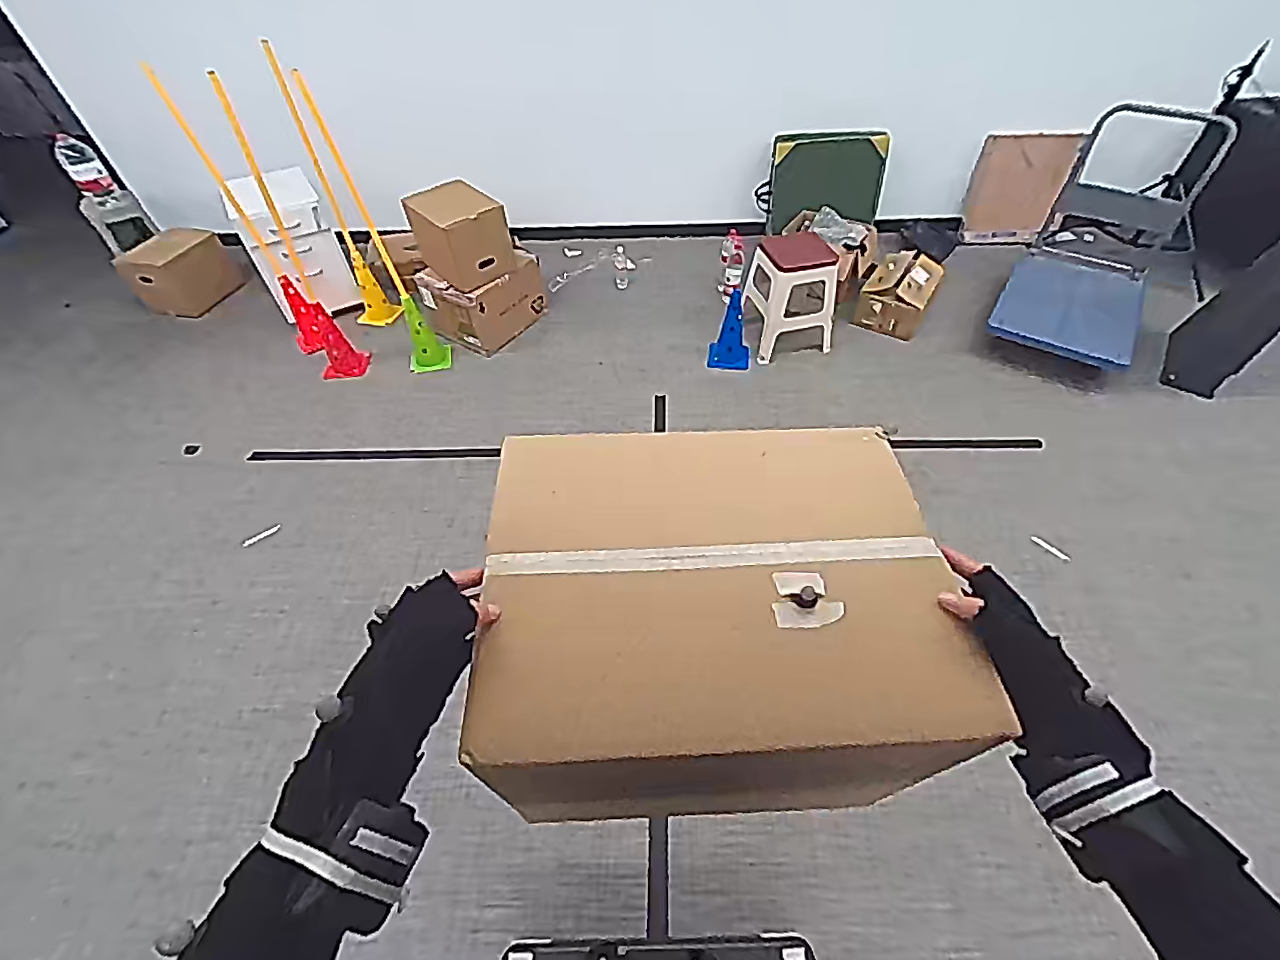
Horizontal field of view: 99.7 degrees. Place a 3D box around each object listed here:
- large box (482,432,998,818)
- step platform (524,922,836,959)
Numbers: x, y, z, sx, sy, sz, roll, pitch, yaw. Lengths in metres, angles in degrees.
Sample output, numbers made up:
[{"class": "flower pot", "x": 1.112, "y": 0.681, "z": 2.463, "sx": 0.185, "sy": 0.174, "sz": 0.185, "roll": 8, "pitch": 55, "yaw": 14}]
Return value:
[{"class": "large box", "x": 0.065, "y": 0.167, "z": 0.610, "sx": 0.408, "sy": 0.320, "sz": 0.320, "roll": -2, "pitch": 52, "yaw": -3}, {"class": "step platform", "x": 0.082, "y": 1.111, "z": 1.115, "sx": 0.684, "sy": 0.204, "sz": 0.286, "roll": -2, "pitch": 50, "yaw": -1}]
